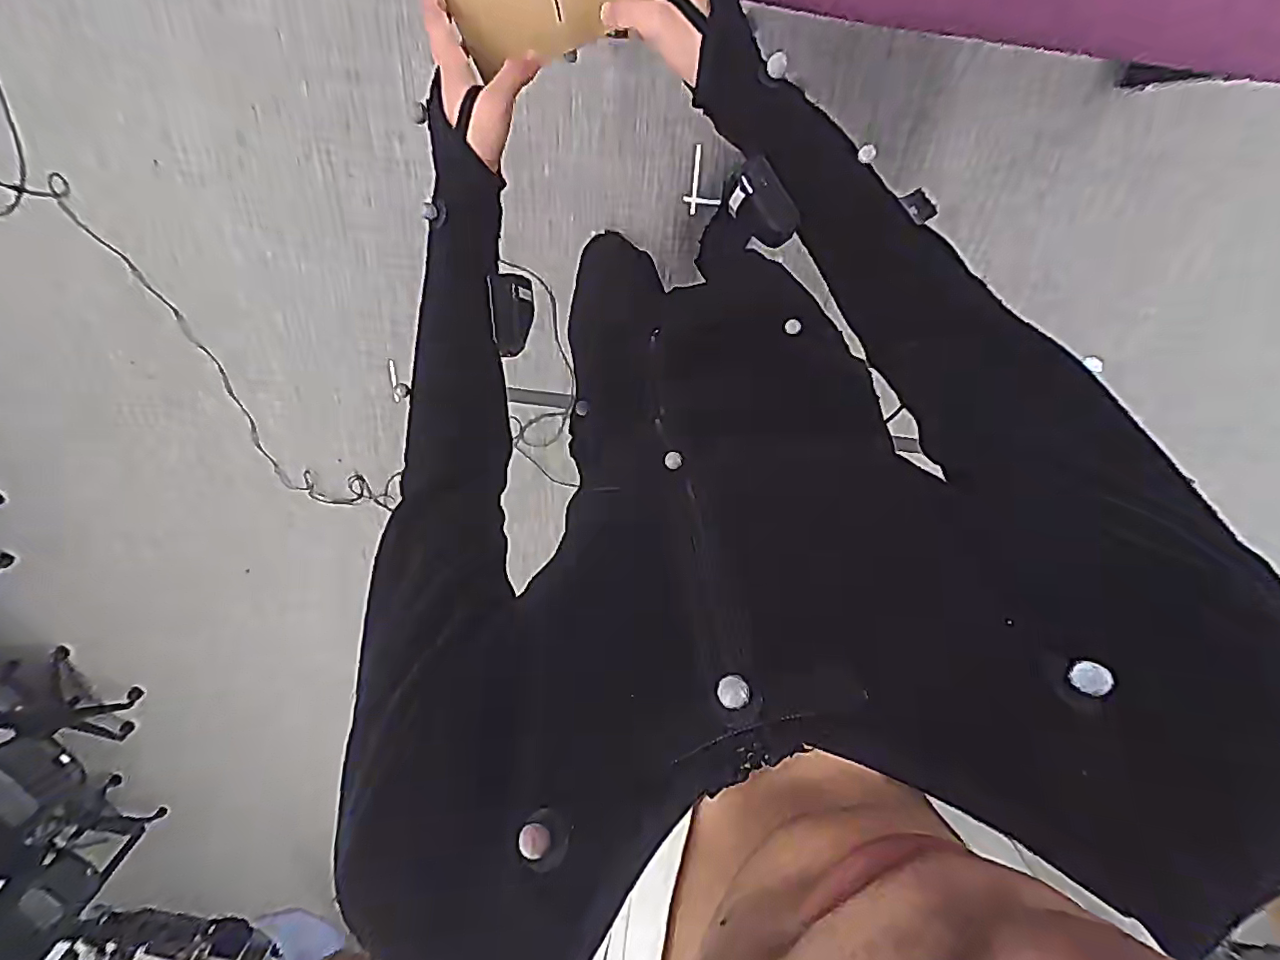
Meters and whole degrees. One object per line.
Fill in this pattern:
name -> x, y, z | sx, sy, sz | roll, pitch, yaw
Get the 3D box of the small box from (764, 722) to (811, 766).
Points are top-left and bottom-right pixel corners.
small box -> 0.658, 1.222, 2.435 | 0.168, 0.176, 0.179 | 3, 122, 3

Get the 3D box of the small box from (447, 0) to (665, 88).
small box -> -0.092, -0.468, 0.451 | 0.168, 0.176, 0.179 | -19, 133, 9

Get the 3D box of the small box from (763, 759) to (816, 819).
small box -> 0.632, 1.311, 2.299 | 0.179, 0.176, 0.168 | 2, 122, 3
